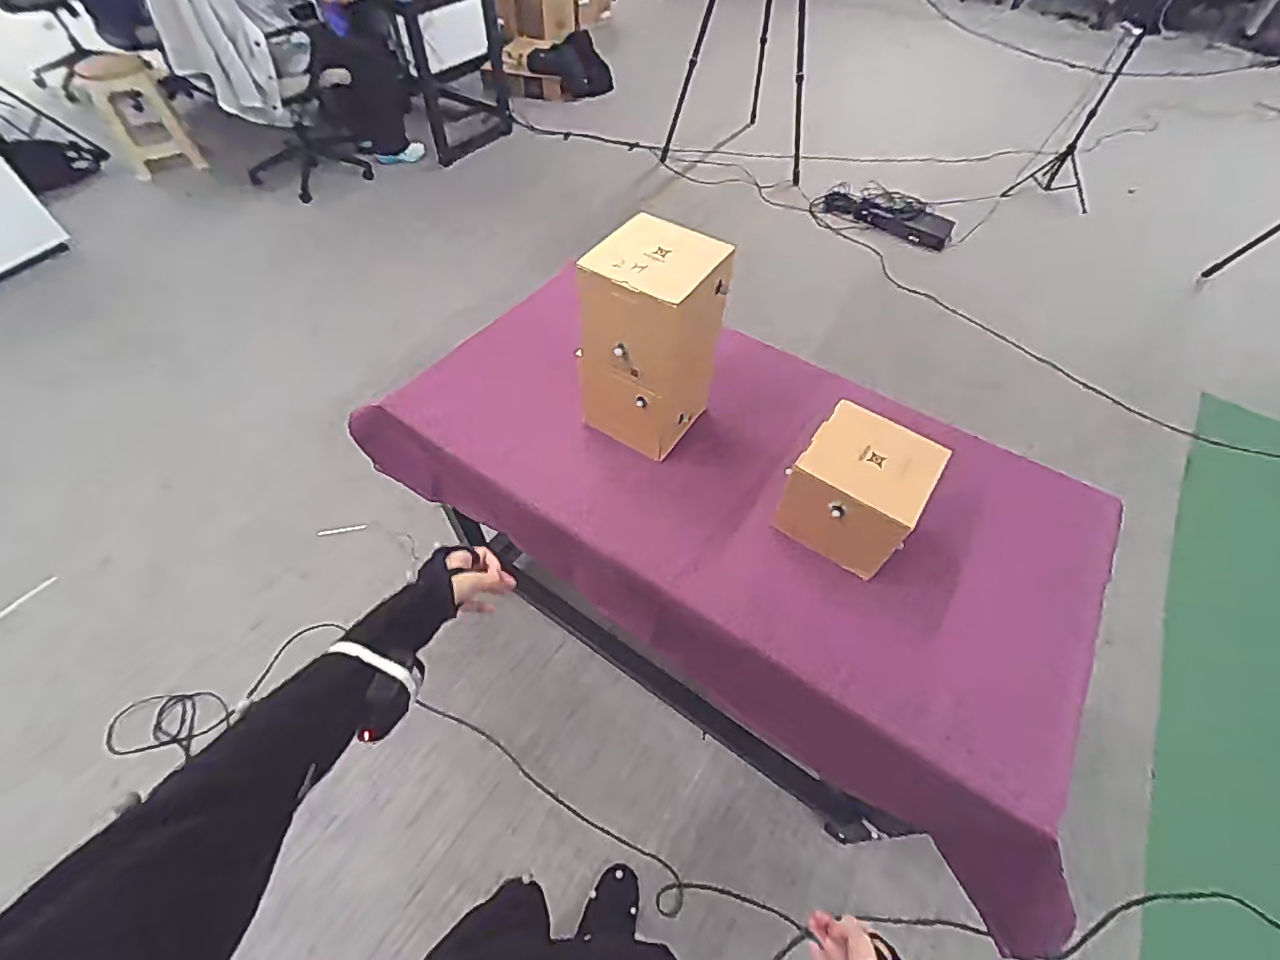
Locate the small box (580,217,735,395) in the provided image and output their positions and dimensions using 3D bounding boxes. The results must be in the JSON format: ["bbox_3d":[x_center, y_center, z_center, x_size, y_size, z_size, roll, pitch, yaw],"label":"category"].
[{"bbox_3d":[0.023,-0.266,0.834,0.168,0.176,0.179,28,57,17],"label":"small box"}]

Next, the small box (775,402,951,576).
[{"bbox_3d":[0.332,0.018,0.837,0.179,0.176,0.168,32,60,19],"label":"small box"}]

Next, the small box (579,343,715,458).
[{"bbox_3d":[0.010,-0.168,0.967,0.179,0.176,0.168,29,58,17],"label":"small box"}]
